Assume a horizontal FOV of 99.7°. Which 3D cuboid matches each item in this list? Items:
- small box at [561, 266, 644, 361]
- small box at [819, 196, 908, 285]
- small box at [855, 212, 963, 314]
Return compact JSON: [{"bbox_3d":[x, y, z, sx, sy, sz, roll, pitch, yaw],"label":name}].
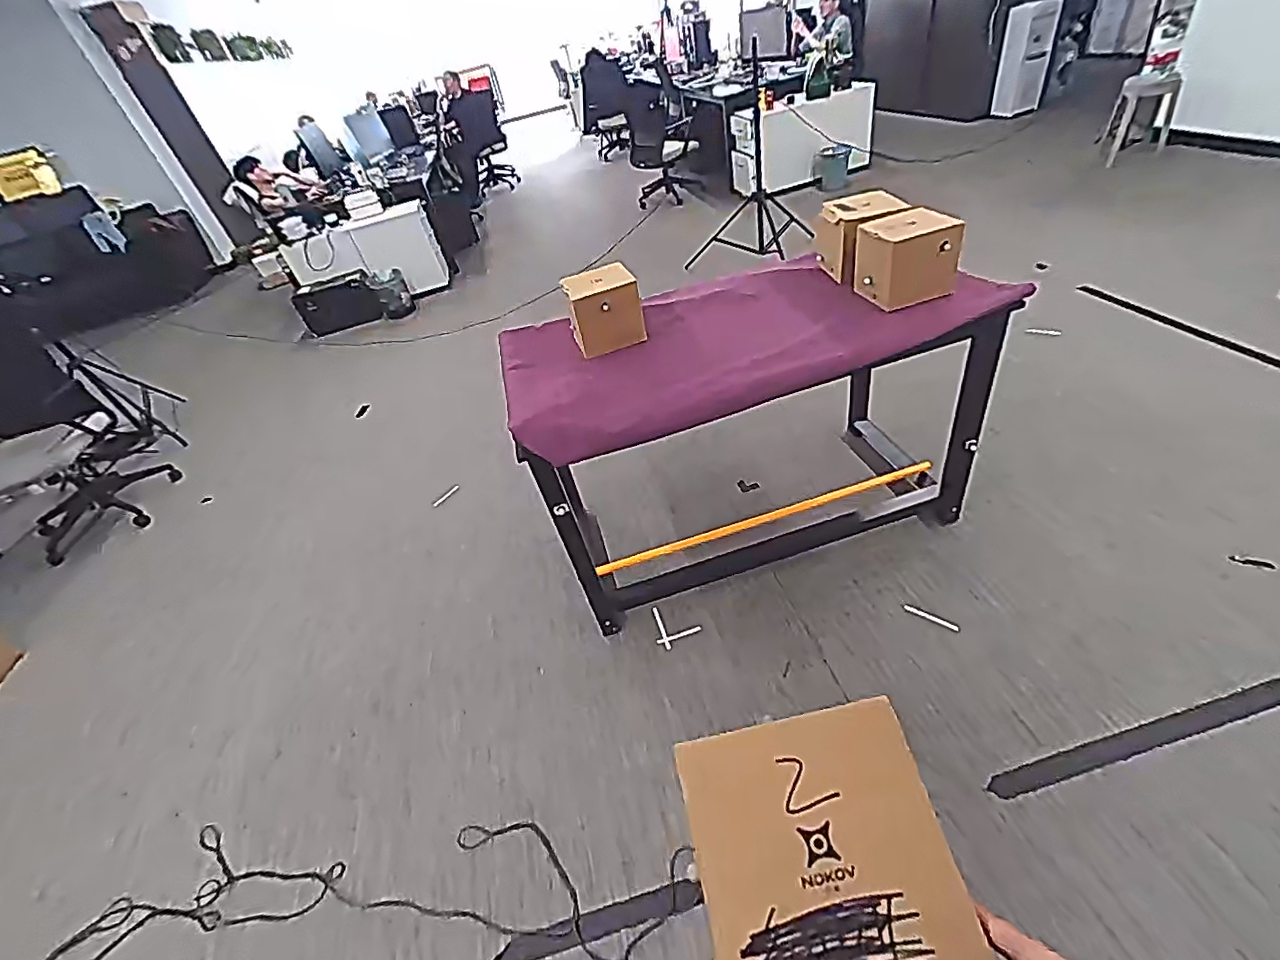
[{"bbox_3d":[-0.095,-0.447,1.456,0.179,0.176,0.168,-20,41,-6],"label":"small box"},{"bbox_3d":[0.603,-0.654,1.483,0.179,0.176,0.168,-13,42,1],"label":"small box"},{"bbox_3d":[0.651,-0.532,1.331,0.179,0.176,0.168,-17,38,-2],"label":"small box"}]
